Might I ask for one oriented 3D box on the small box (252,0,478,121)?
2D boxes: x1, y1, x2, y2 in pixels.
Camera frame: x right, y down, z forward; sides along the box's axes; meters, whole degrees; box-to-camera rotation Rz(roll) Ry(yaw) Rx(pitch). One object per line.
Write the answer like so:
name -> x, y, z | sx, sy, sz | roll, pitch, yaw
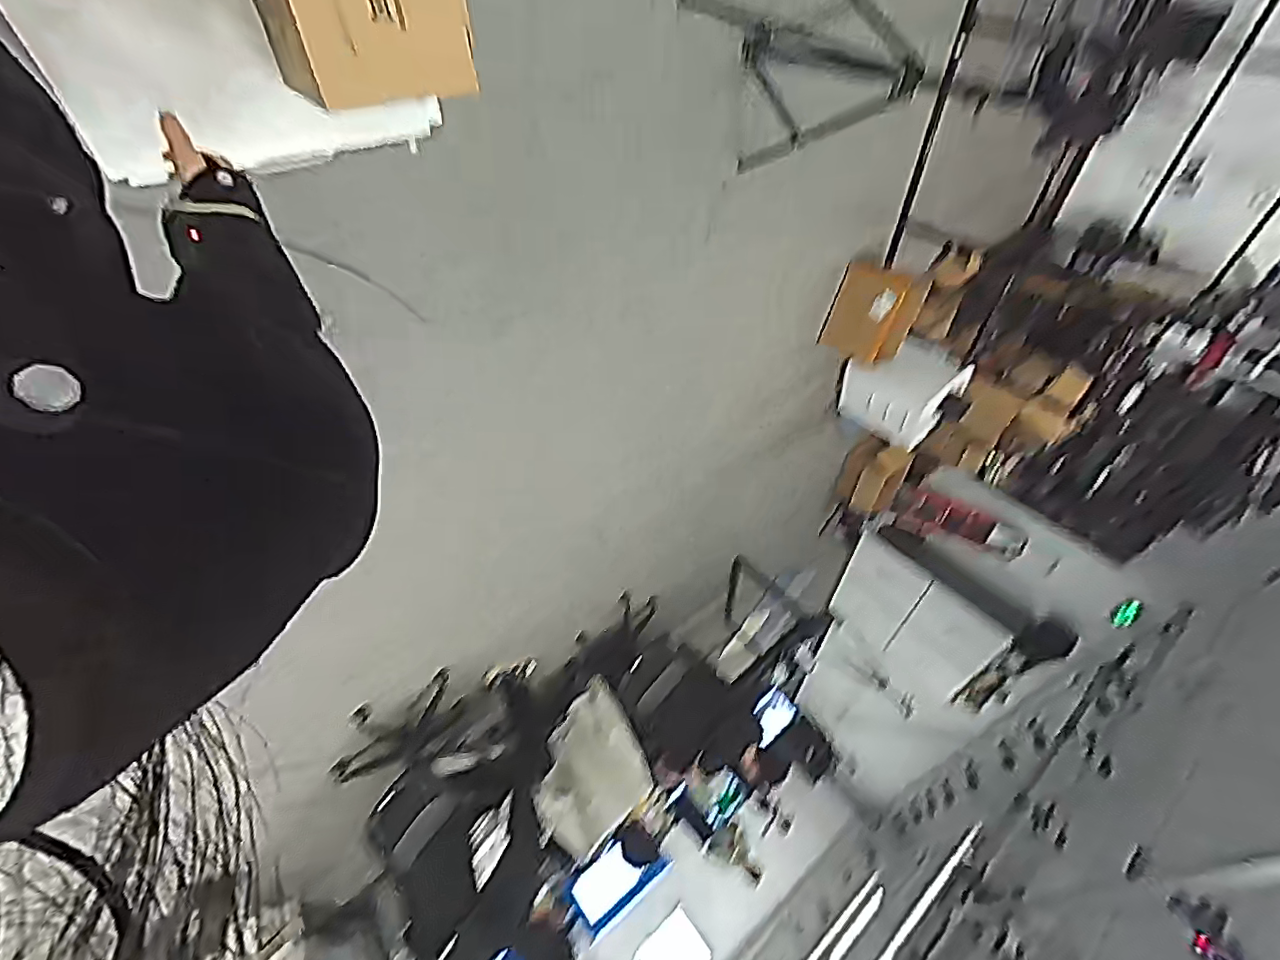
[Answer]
small box -> -0.307, -0.514, 0.589 | 0.179, 0.176, 0.168 | -29, 142, -26
